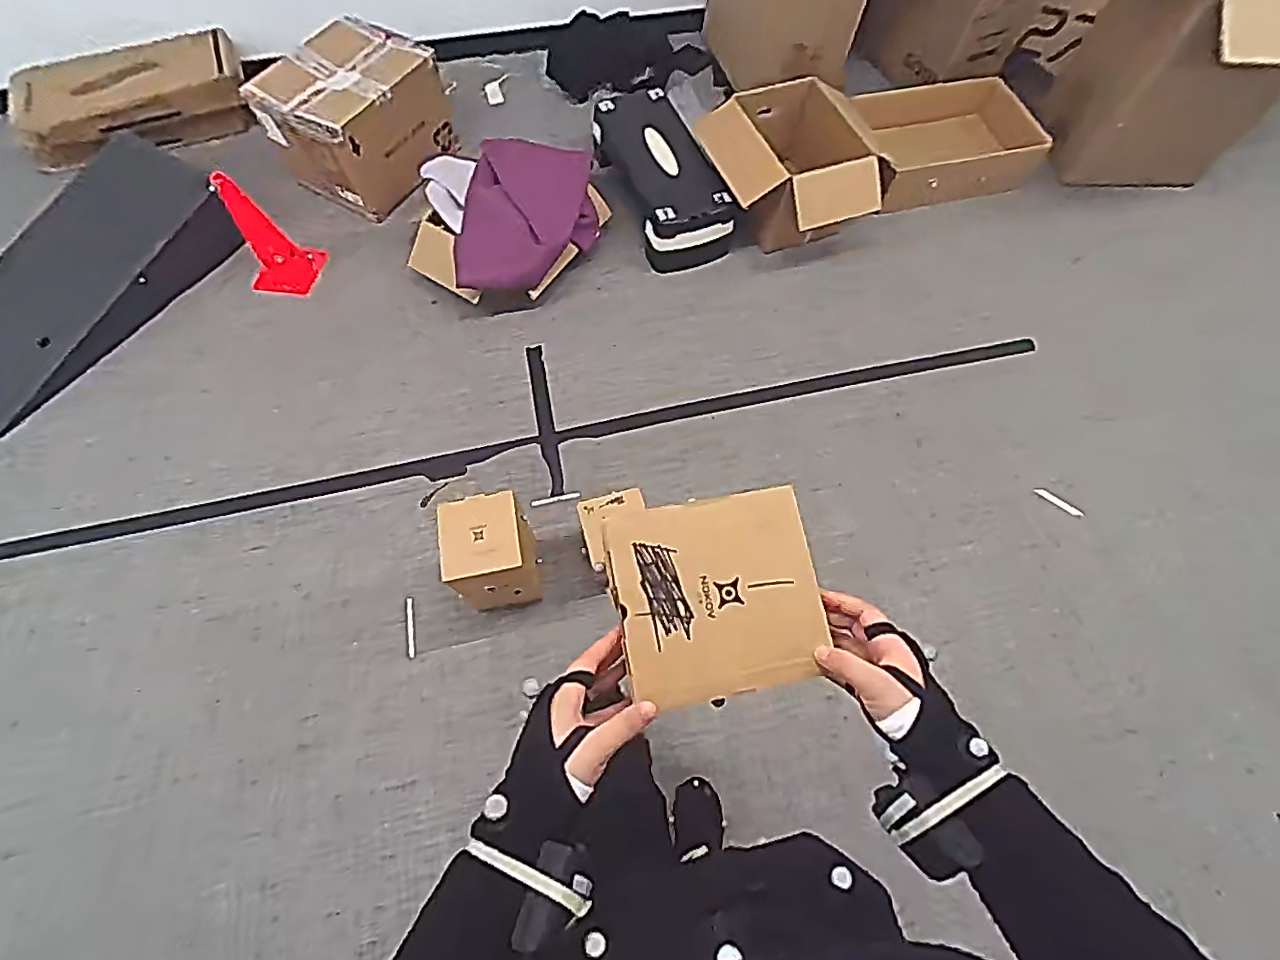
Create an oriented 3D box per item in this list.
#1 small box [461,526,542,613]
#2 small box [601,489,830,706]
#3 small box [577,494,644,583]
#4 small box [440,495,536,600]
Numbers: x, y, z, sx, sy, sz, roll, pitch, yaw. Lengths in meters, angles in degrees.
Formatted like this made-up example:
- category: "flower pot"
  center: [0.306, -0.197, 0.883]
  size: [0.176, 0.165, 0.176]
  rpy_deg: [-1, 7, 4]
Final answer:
- category: "small box"
  center: [-0.346, 0.228, 1.363]
  size: [0.179, 0.176, 0.168]
  rpy_deg: [-10, 67, -5]
- category: "small box"
  center: [0.059, 0.118, 0.547]
  size: [0.179, 0.176, 0.168]
  rpy_deg: [-9, 77, -7]
- category: "small box"
  center: [-0.059, 0.160, 1.401]
  size: [0.168, 0.176, 0.179]
  rpy_deg: [-14, 68, -7]
- category: "small box"
  center: [-0.337, 0.157, 1.217]
  size: [0.168, 0.176, 0.179]
  rpy_deg: [-12, 68, -5]
